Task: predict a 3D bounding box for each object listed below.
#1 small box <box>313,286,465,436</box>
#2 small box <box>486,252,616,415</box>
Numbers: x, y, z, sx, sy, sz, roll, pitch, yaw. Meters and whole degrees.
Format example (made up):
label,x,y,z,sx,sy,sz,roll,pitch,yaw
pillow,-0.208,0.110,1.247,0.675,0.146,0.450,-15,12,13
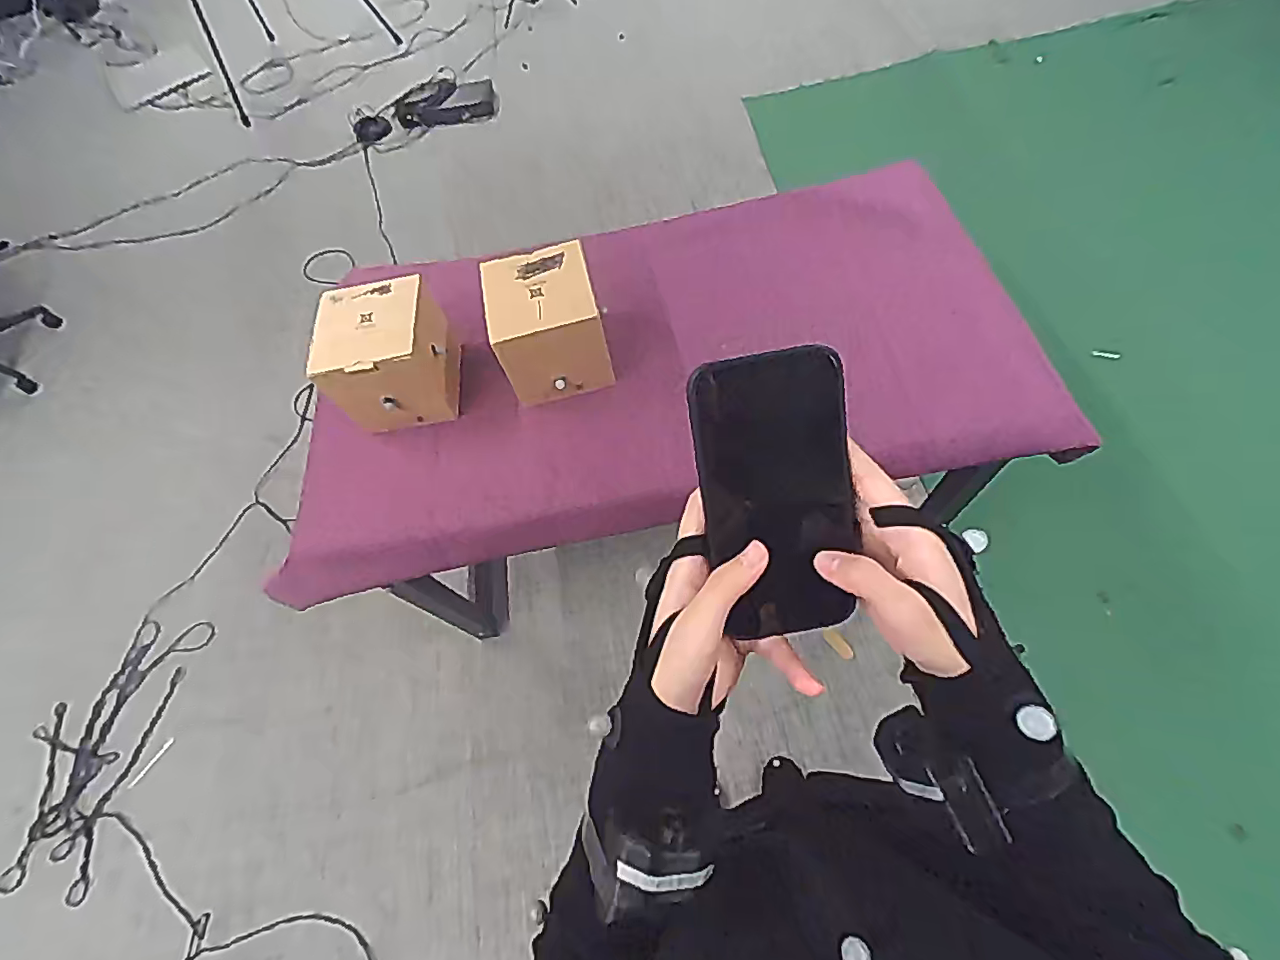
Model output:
label,x,y,z,sx,sy,sz,roll,pitch,yaw
small box,-0.407,-0.189,0.909,0.168,0.176,0.179,-10,61,3
small box,-0.144,-0.238,0.897,0.168,0.176,0.179,-14,61,1
